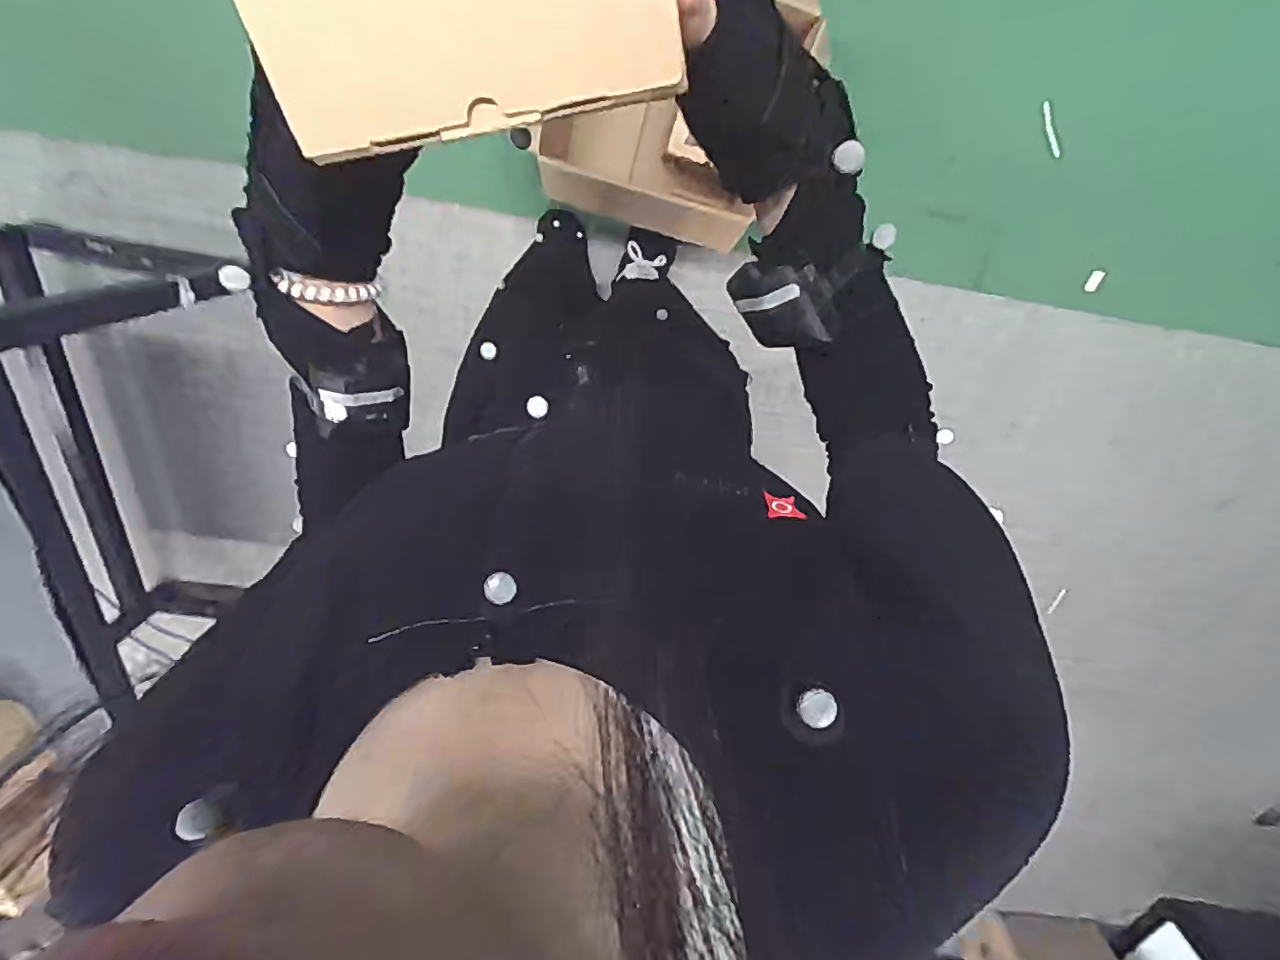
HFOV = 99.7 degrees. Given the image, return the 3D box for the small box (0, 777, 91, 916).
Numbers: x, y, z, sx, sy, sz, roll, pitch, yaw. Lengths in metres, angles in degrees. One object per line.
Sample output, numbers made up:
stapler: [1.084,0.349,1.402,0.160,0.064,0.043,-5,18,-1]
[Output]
small box: [-1.284,0.726,1.083,0.179,0.176,0.168,8,117,-2]

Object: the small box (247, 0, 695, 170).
small box: [-0.070,-0.260,0.243,0.168,0.176,0.179,-7,126,7]
